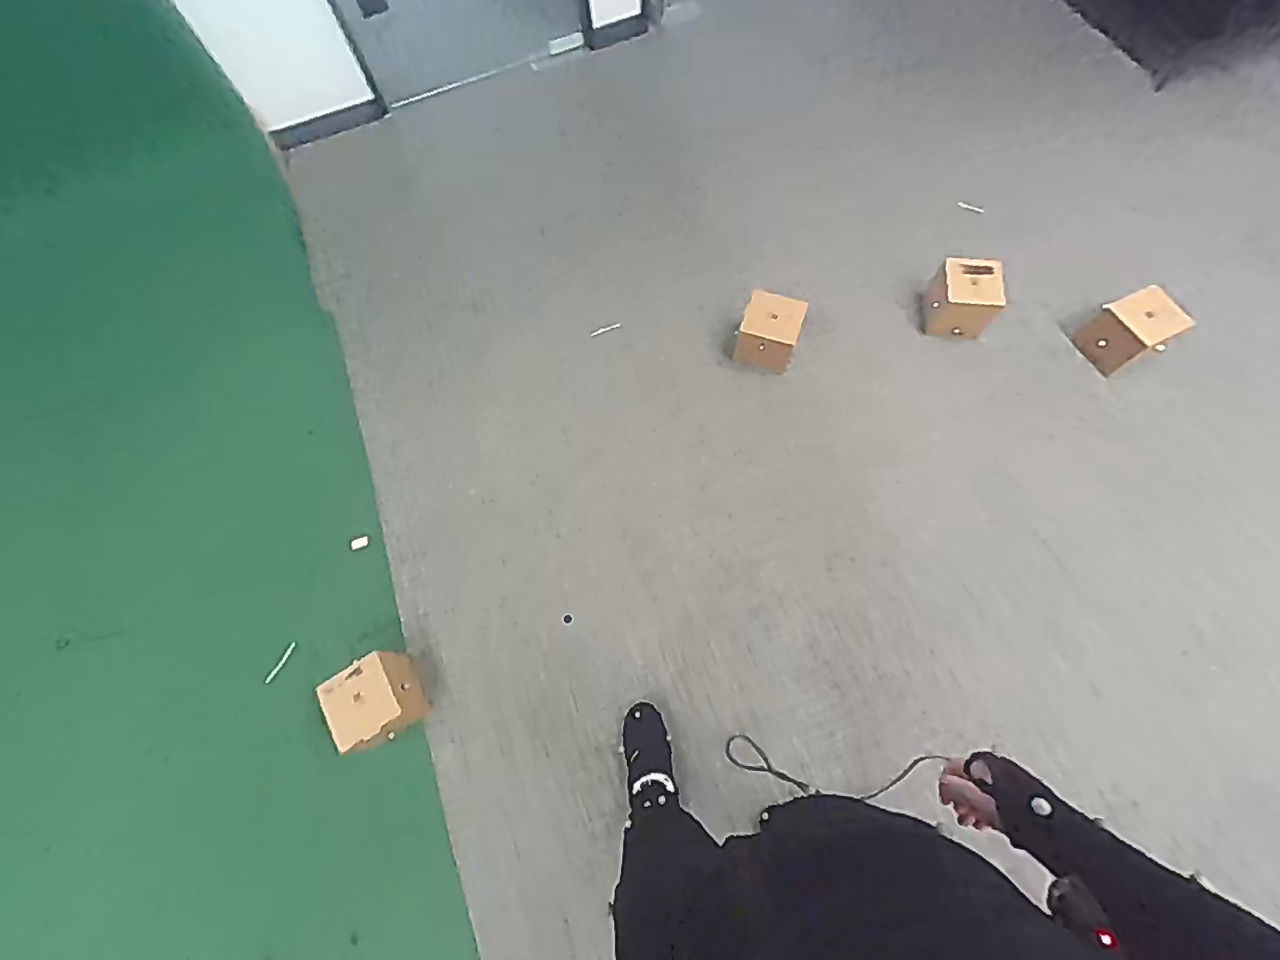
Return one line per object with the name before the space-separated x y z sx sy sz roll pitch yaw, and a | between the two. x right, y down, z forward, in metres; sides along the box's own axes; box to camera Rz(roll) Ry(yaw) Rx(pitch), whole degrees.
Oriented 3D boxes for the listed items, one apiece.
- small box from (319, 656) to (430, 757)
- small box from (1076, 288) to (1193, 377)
small box | -0.667 0.571 1.379 0.168 0.176 0.179 -32 70 -9
small box | 1.495 -0.445 1.657 0.179 0.176 0.168 -25 69 -7
